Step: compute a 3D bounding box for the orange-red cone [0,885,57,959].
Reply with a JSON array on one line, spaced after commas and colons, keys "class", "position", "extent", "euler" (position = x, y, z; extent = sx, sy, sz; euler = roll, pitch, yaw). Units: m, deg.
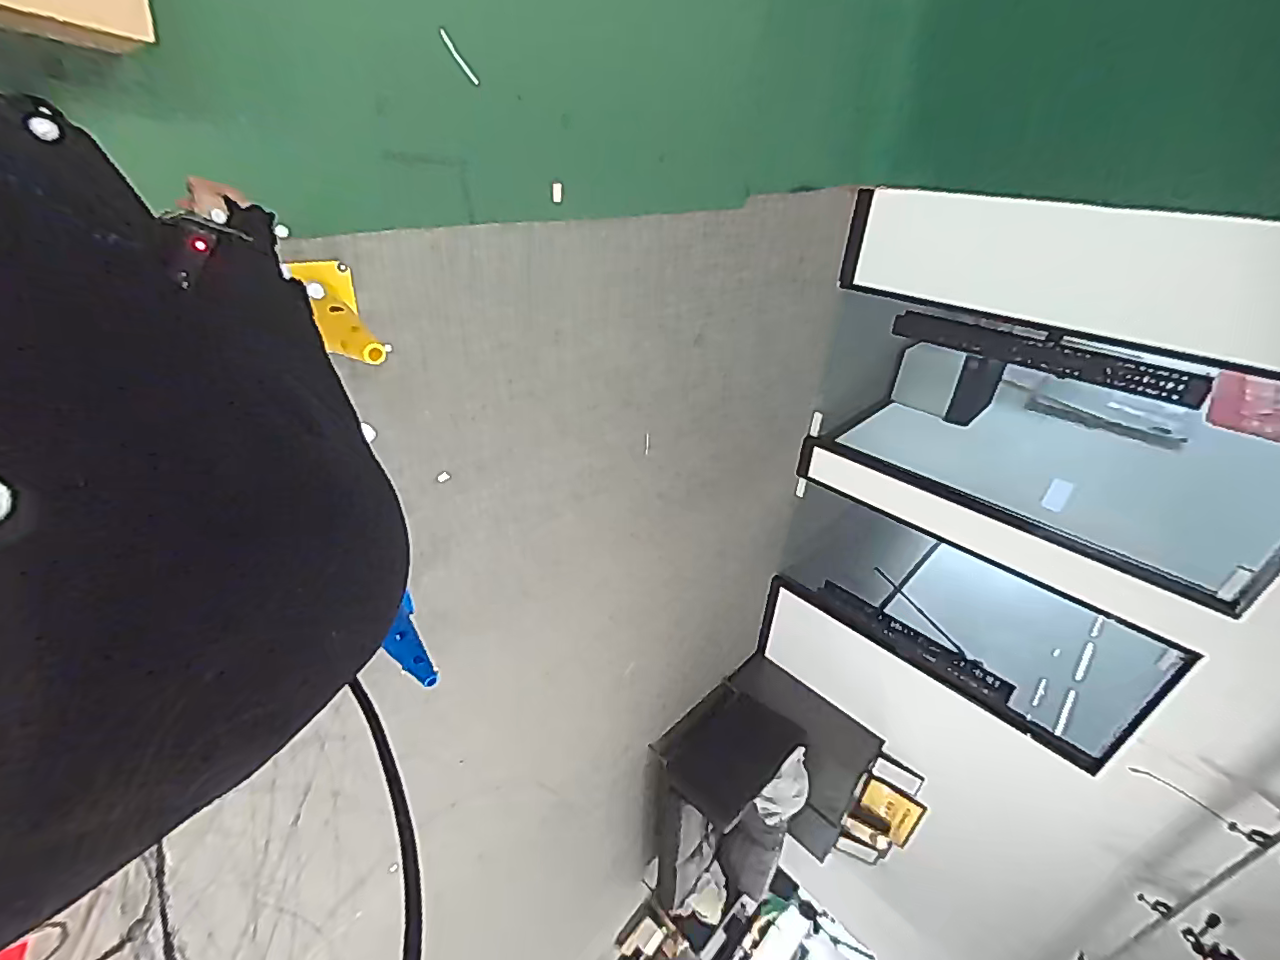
[{"class": "orange-red cone", "position": [-1.353, 1.103, 1.122], "extent": [0.199, 0.360, 0.198], "euler": [-2, 114, -47]}]
